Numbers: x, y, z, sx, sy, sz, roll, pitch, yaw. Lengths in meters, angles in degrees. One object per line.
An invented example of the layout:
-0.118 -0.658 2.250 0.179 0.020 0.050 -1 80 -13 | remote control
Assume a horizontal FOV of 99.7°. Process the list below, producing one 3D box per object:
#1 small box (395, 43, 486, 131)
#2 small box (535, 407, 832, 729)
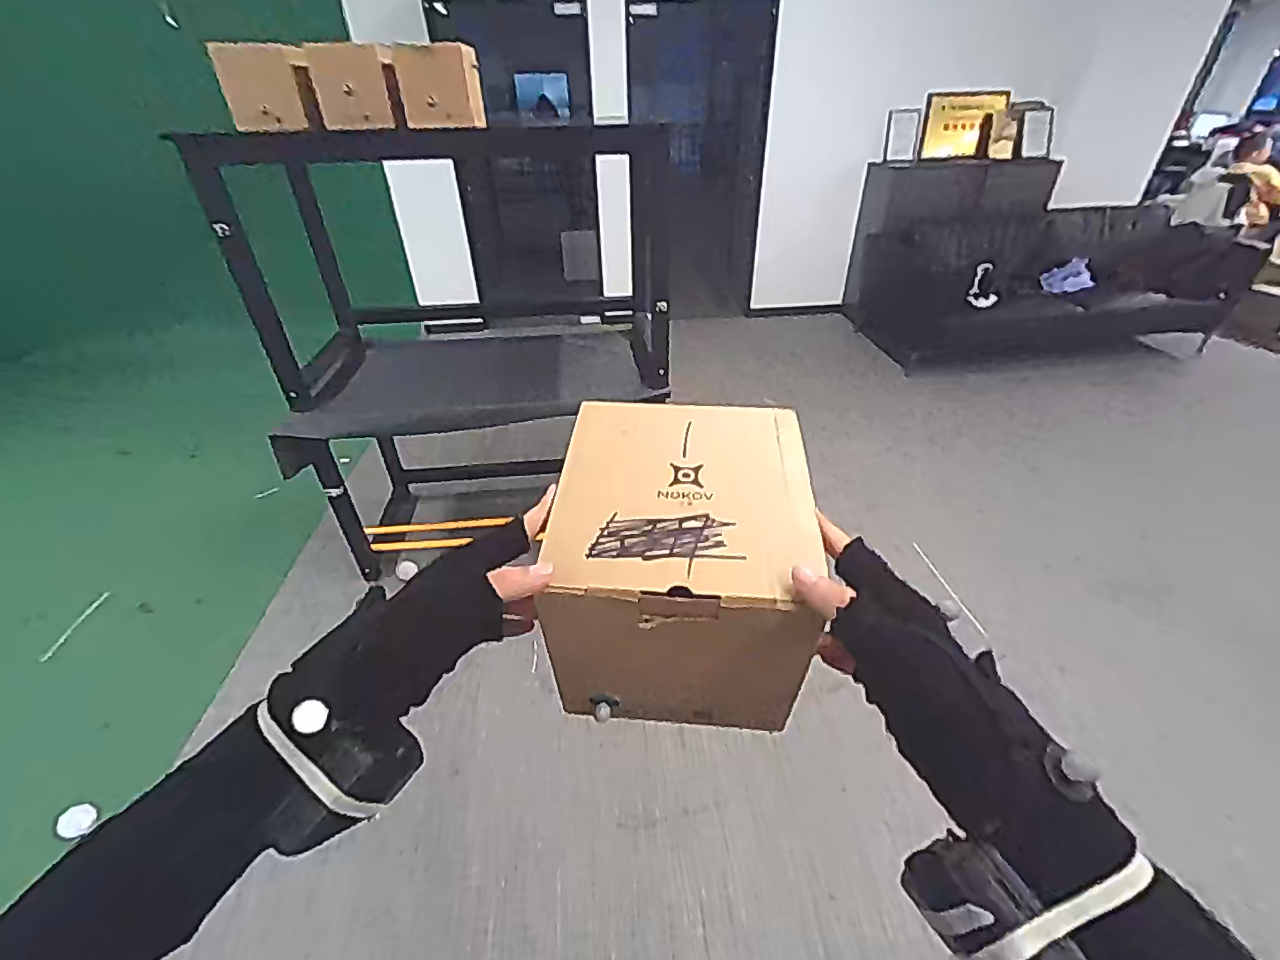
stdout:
-0.493 -0.986 1.362 0.168 0.176 0.179 -3 36 -4 | small box
0.031 0.065 0.405 0.168 0.176 0.179 3 43 4 | small box
